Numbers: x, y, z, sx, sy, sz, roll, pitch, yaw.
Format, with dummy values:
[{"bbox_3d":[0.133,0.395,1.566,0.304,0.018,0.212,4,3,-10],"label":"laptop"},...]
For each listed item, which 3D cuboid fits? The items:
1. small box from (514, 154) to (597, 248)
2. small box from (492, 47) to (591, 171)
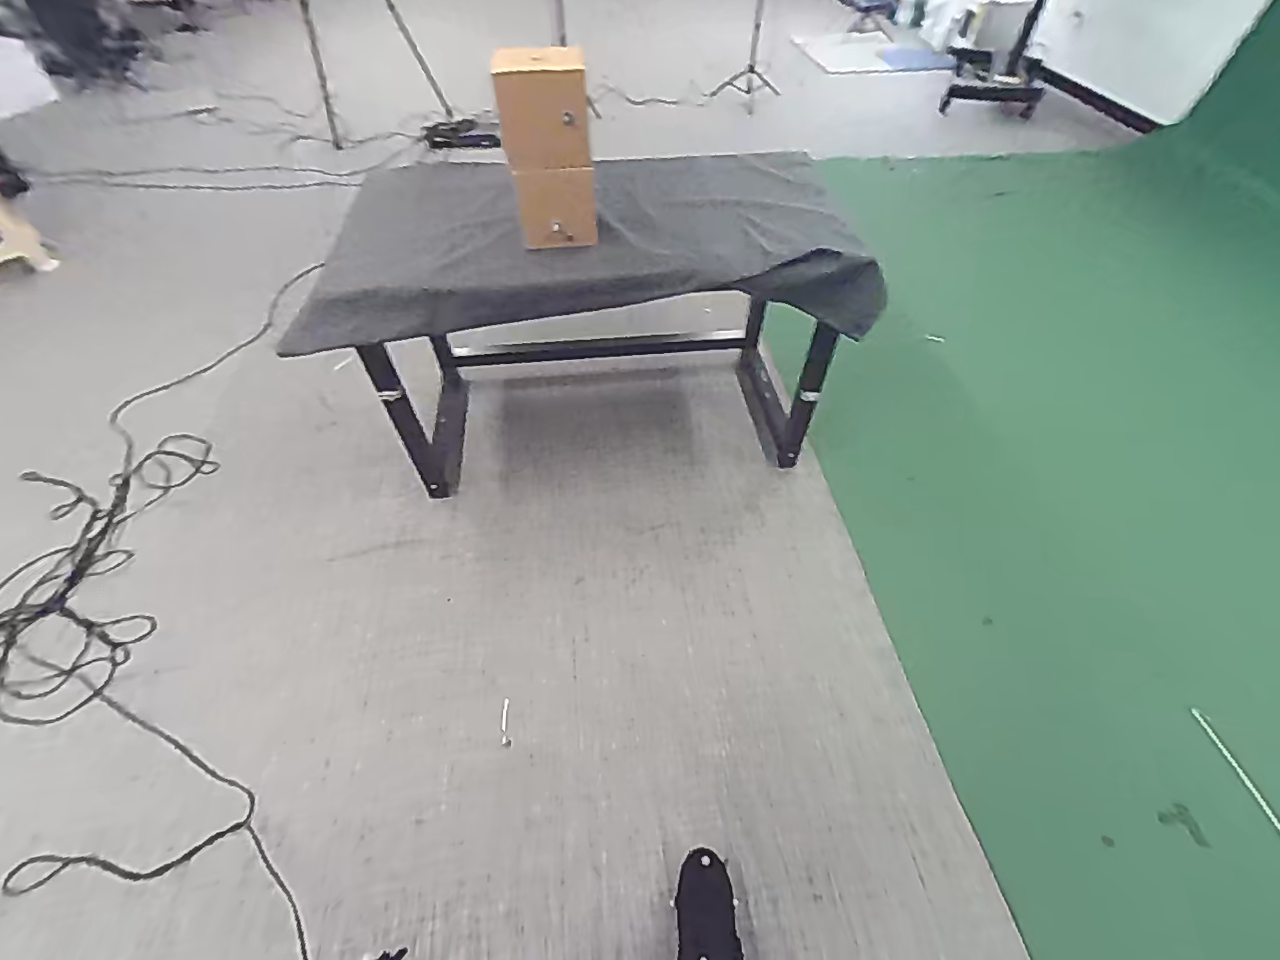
[{"bbox_3d":[-0.187,-0.649,1.225,0.168,0.176,0.179,-6,52,-4],"label":"small box"},{"bbox_3d":[-0.193,-0.750,1.097,0.179,0.176,0.168,-7,51,-4],"label":"small box"}]
